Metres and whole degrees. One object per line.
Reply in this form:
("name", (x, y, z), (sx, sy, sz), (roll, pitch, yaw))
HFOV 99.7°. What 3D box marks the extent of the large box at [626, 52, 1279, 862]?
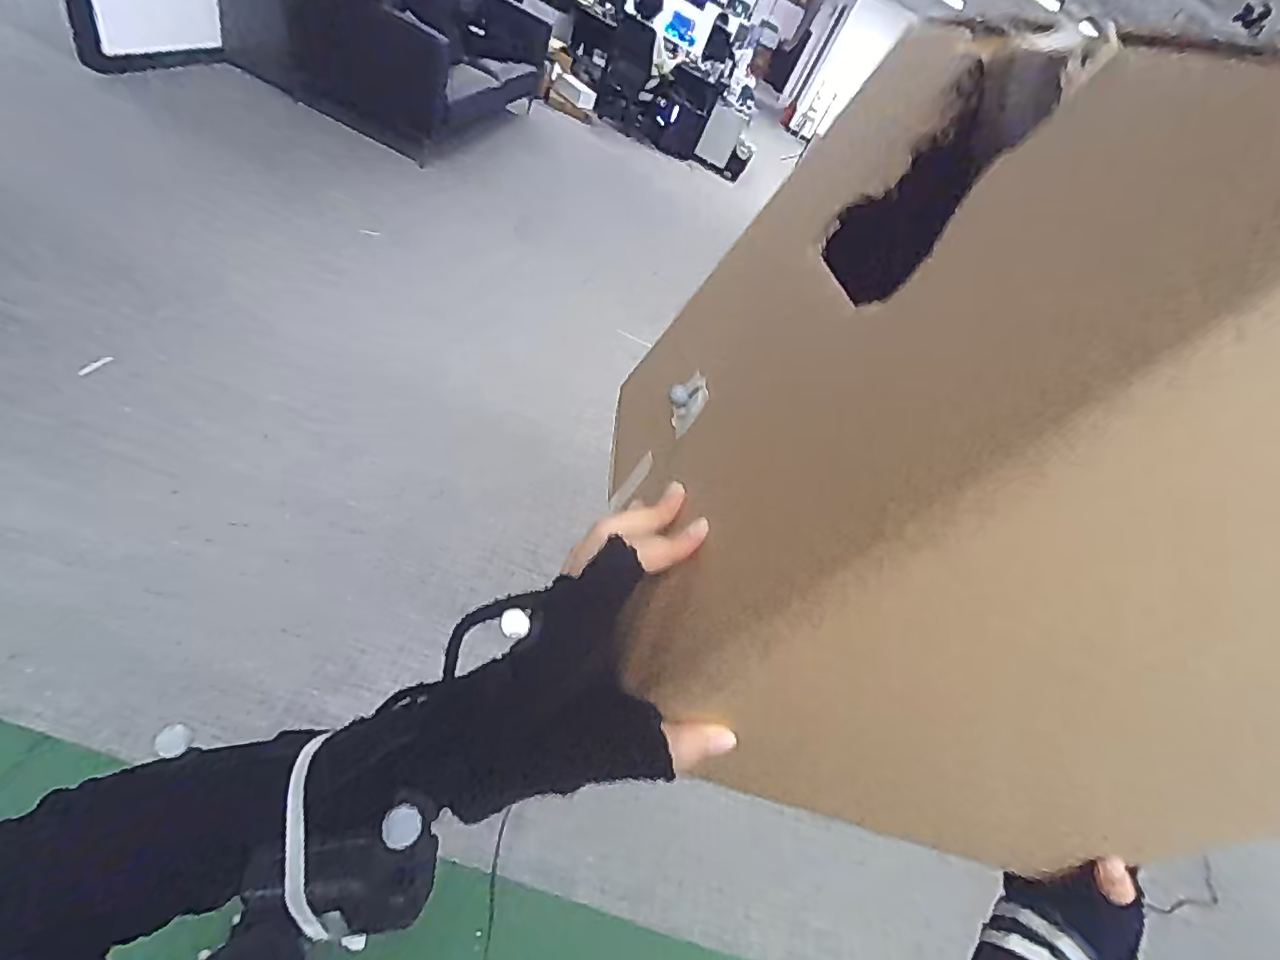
("large box", (0.236, 0.021, 0.367), (0.408, 0.320, 0.320), (29, 37, -23))
